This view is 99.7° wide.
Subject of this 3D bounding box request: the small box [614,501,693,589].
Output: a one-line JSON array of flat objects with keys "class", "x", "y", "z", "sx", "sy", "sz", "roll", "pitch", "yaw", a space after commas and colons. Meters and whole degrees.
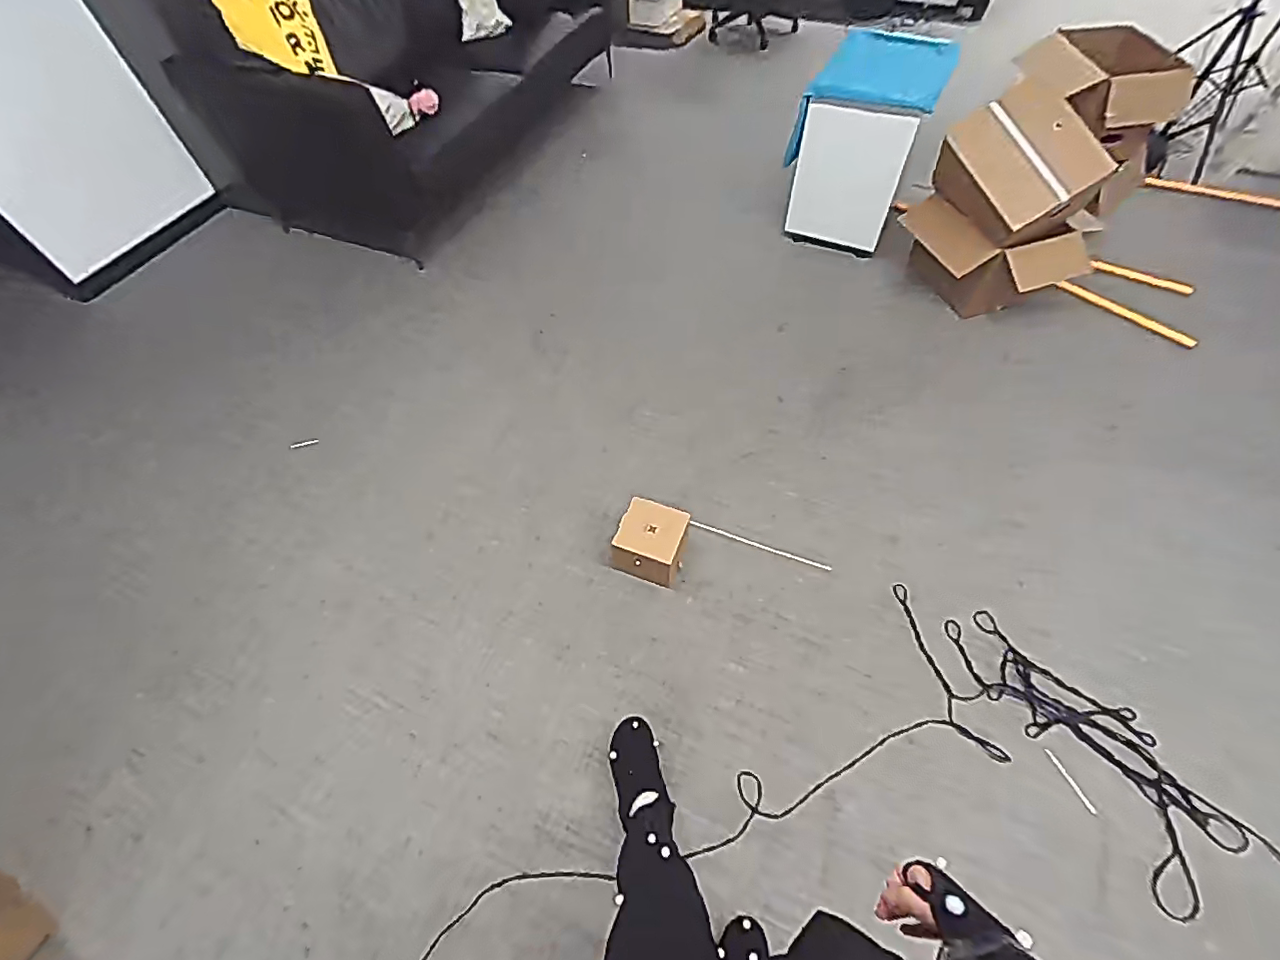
[{"class": "small box", "x": 0.042, "y": 0.190, "z": 1.540, "sx": 0.179, "sy": 0.176, "sz": 0.168, "roll": 18, "pitch": 59, "yaw": 15}]
